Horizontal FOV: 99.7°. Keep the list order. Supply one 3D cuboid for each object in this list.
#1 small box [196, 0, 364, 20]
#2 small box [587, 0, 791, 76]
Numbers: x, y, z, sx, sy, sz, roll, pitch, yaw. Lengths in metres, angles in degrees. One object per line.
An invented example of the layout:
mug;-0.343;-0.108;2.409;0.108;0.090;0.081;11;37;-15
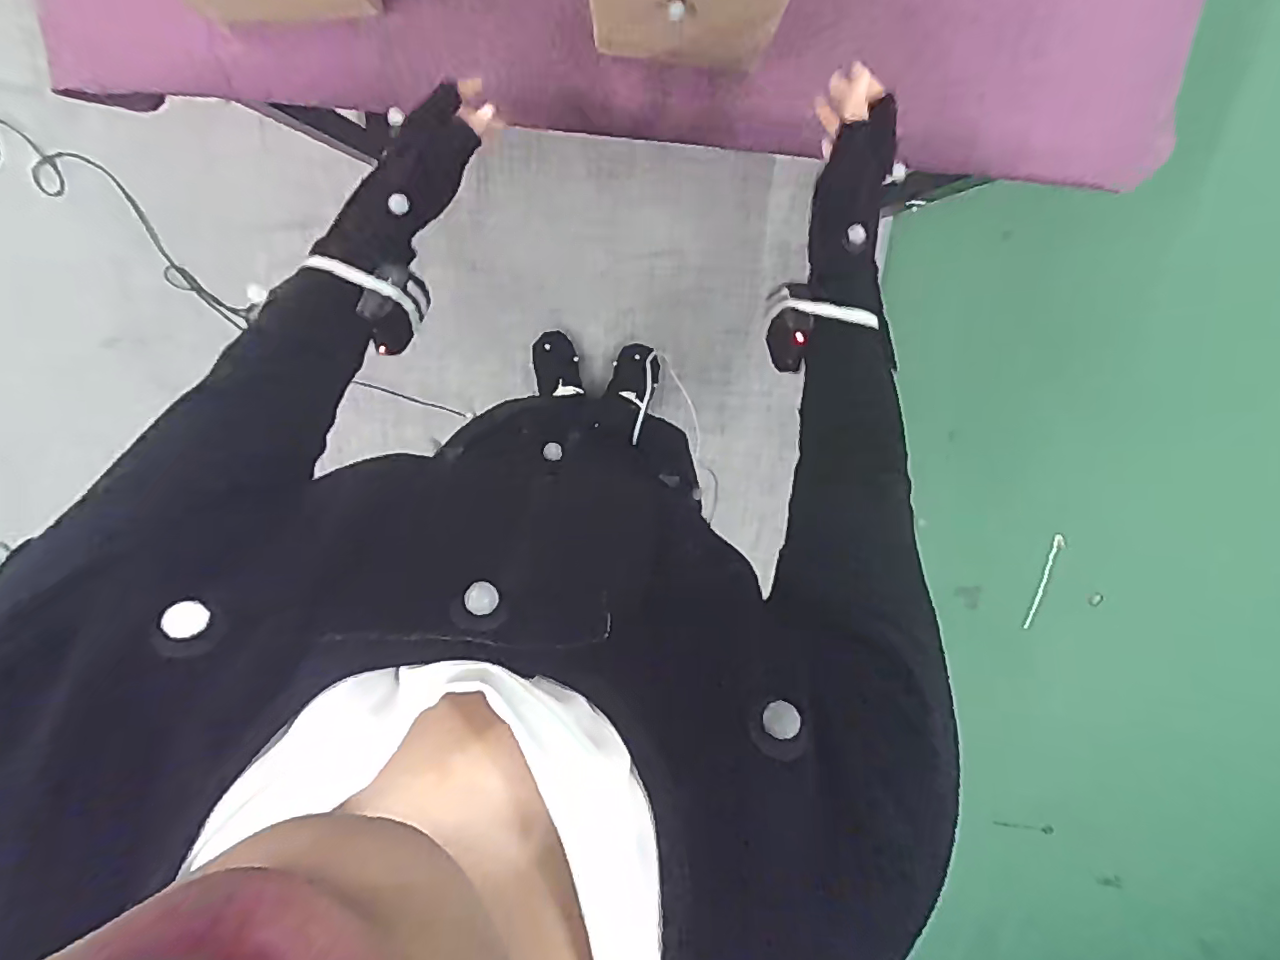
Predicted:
small box;-0.360;-0.542;0.473;0.179;0.176;0.168;-1;107;0
small box;0.048;-0.503;0.495;0.179;0.176;0.168;7;107;-2
